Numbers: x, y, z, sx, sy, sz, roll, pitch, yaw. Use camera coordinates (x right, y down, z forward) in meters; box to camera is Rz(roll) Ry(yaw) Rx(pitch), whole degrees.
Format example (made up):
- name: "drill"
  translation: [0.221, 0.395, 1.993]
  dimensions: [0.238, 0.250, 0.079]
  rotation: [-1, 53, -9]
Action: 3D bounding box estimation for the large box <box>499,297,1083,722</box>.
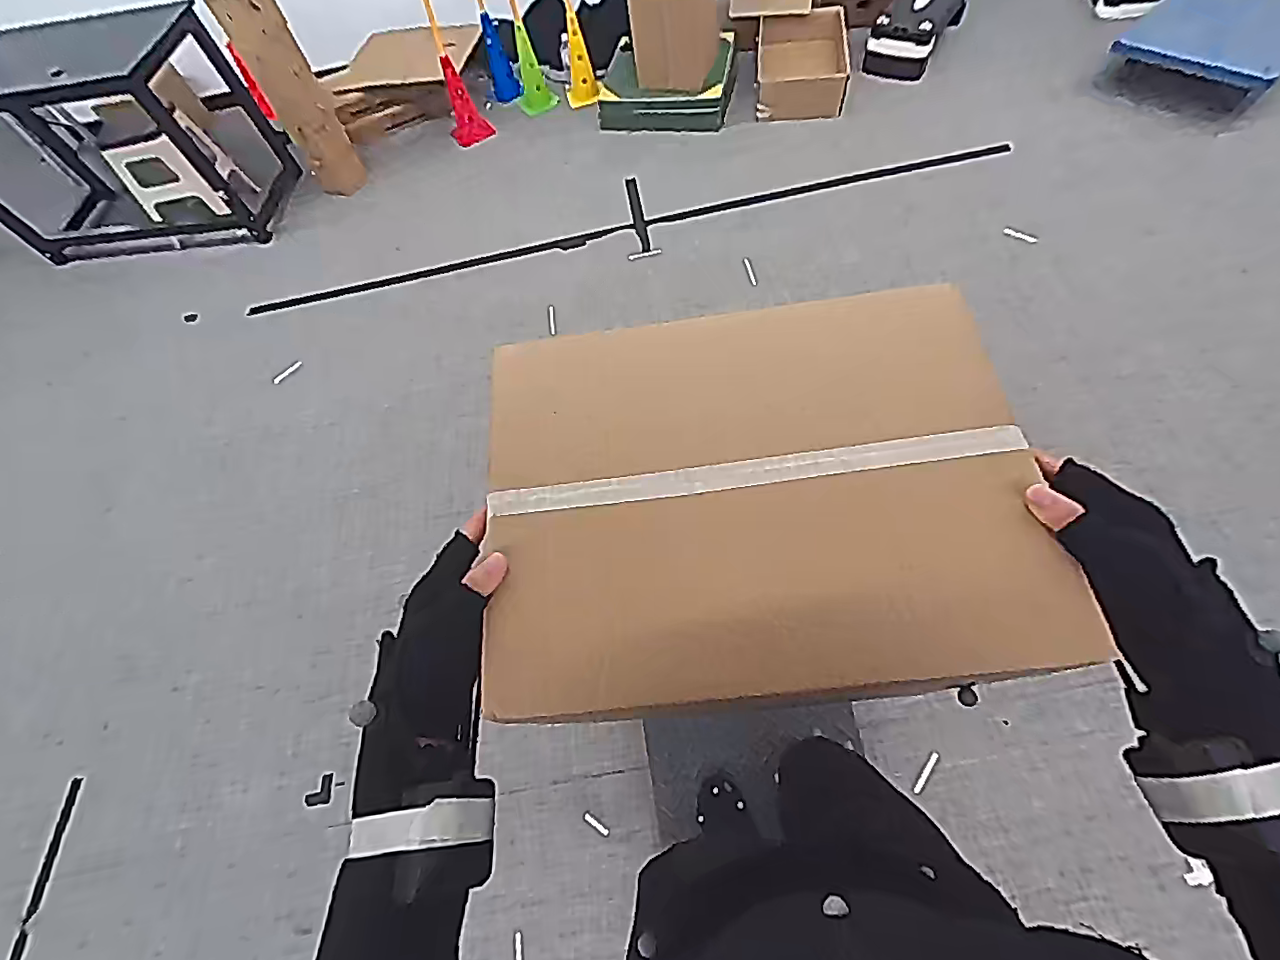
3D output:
- name: "large box"
  translation: [0.101, 0.062, 0.561]
  dimensions: [0.408, 0.320, 0.320]
  rotation: [-8, 64, 4]
